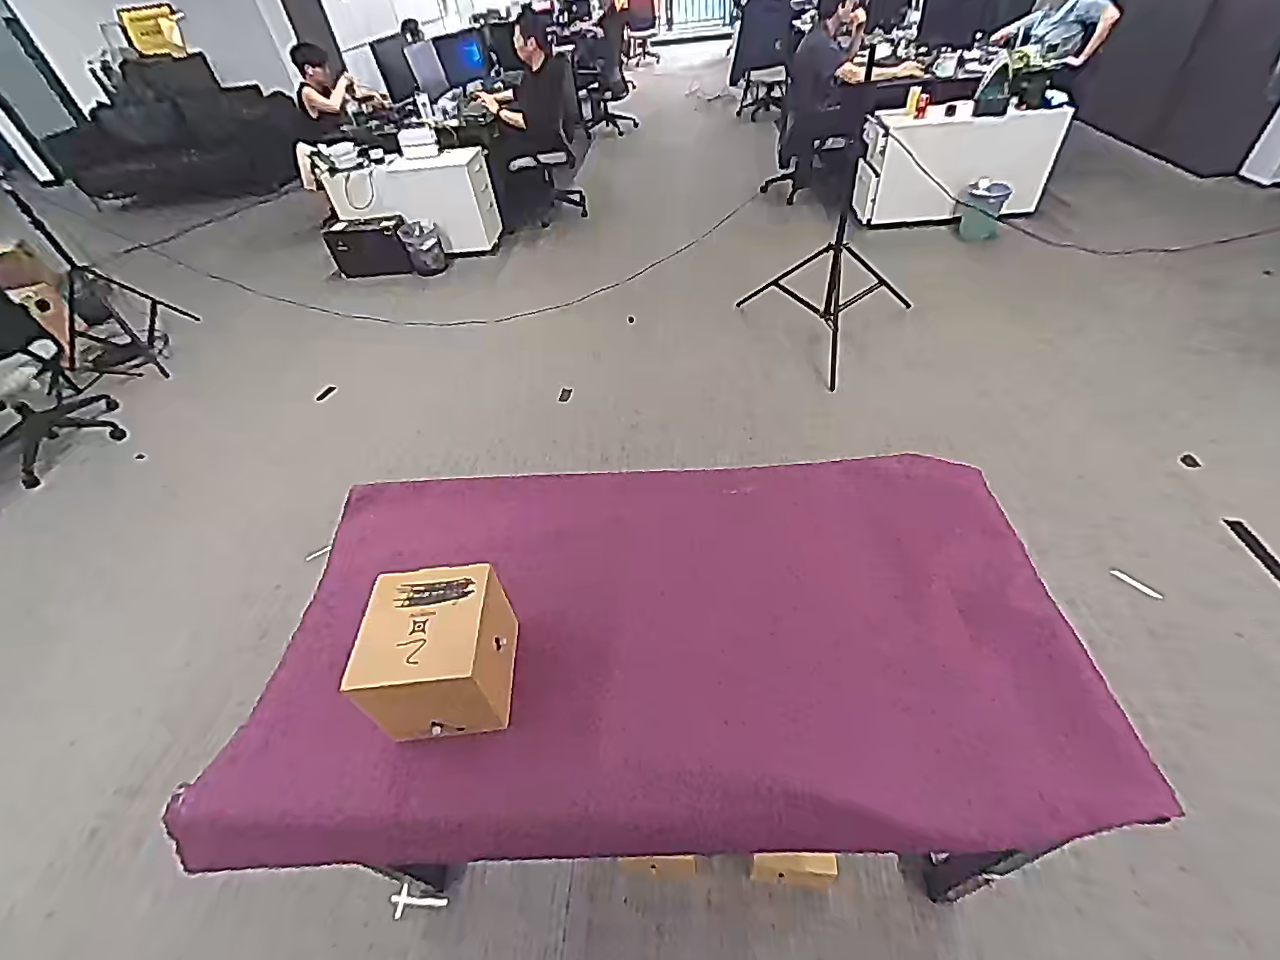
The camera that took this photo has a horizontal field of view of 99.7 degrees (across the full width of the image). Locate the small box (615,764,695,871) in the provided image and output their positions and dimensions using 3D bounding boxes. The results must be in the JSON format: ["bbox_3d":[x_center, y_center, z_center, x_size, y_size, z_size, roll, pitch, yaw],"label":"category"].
[{"bbox_3d":[0.042,0.776,1.240,0.168,0.176,0.179,-1,44,6],"label":"small box"}]

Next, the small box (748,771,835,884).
[{"bbox_3d":[0.329,0.776,1.205,0.168,0.176,0.179,1,44,8],"label":"small box"}]
